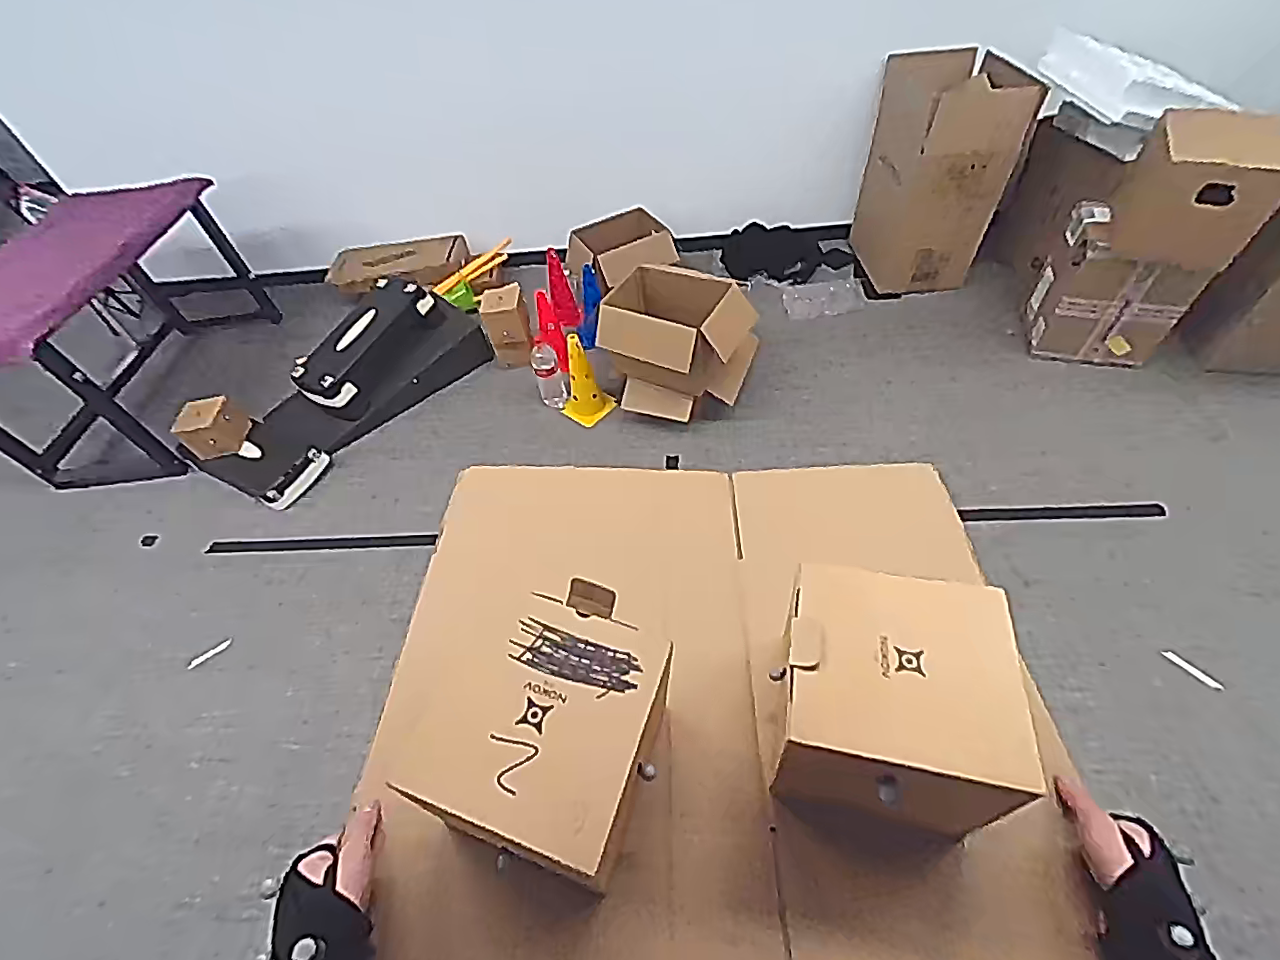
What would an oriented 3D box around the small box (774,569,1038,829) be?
[{"bbox_3d":[0.228,0.208,0.511,0.179,0.176,0.168,6,50,15],"label":"small box"}]
